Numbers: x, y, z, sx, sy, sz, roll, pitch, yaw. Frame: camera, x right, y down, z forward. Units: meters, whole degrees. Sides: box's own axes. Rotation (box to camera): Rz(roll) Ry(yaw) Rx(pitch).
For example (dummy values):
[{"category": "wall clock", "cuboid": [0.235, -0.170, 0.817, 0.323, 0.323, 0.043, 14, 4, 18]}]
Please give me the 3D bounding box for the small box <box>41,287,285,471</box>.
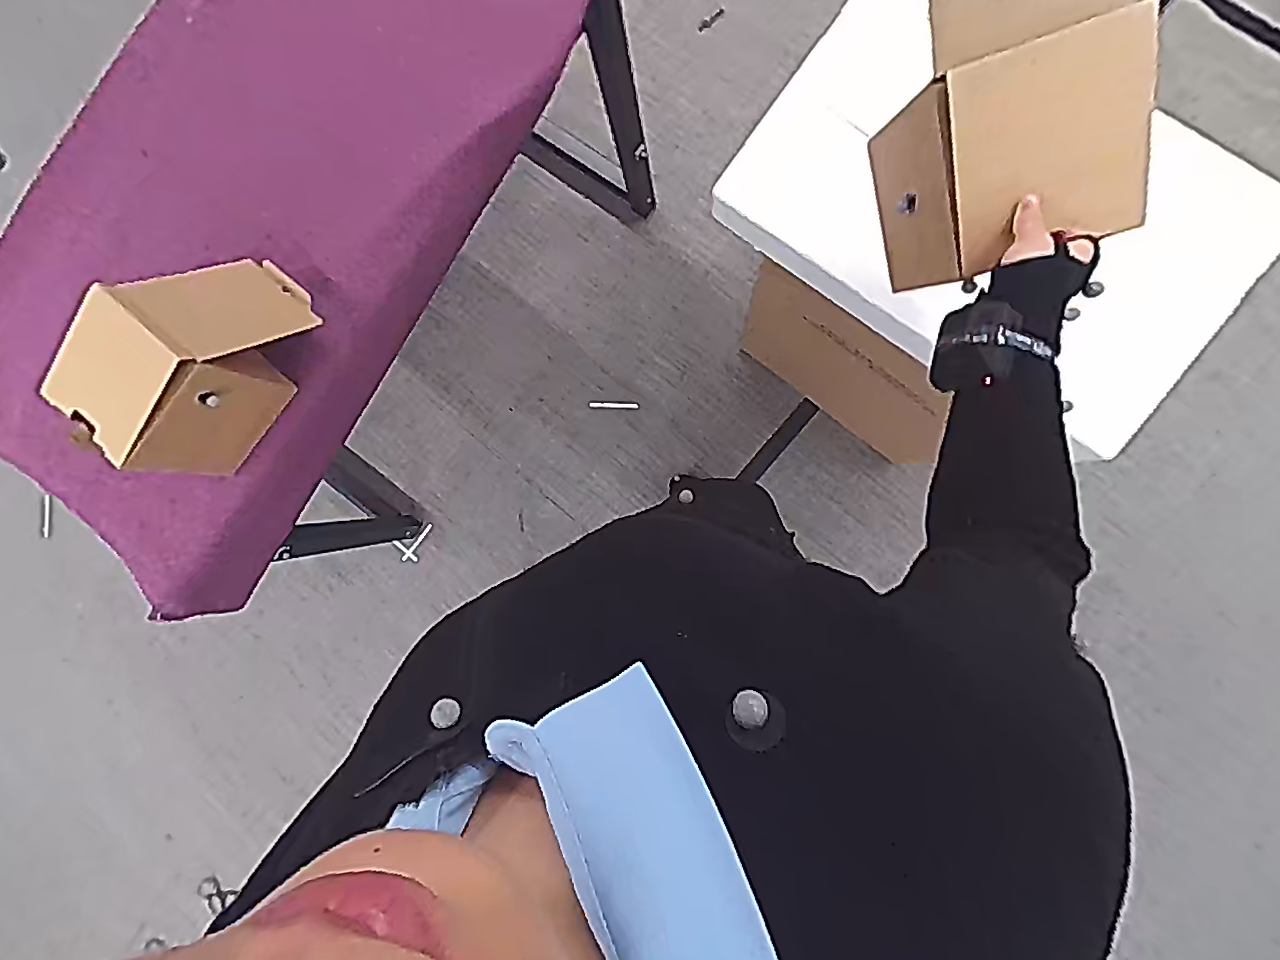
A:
[{"category": "small box", "cuboid": [-0.653, -0.129, 0.767, 0.168, 0.176, 0.179, 40, 94, 8]}]
